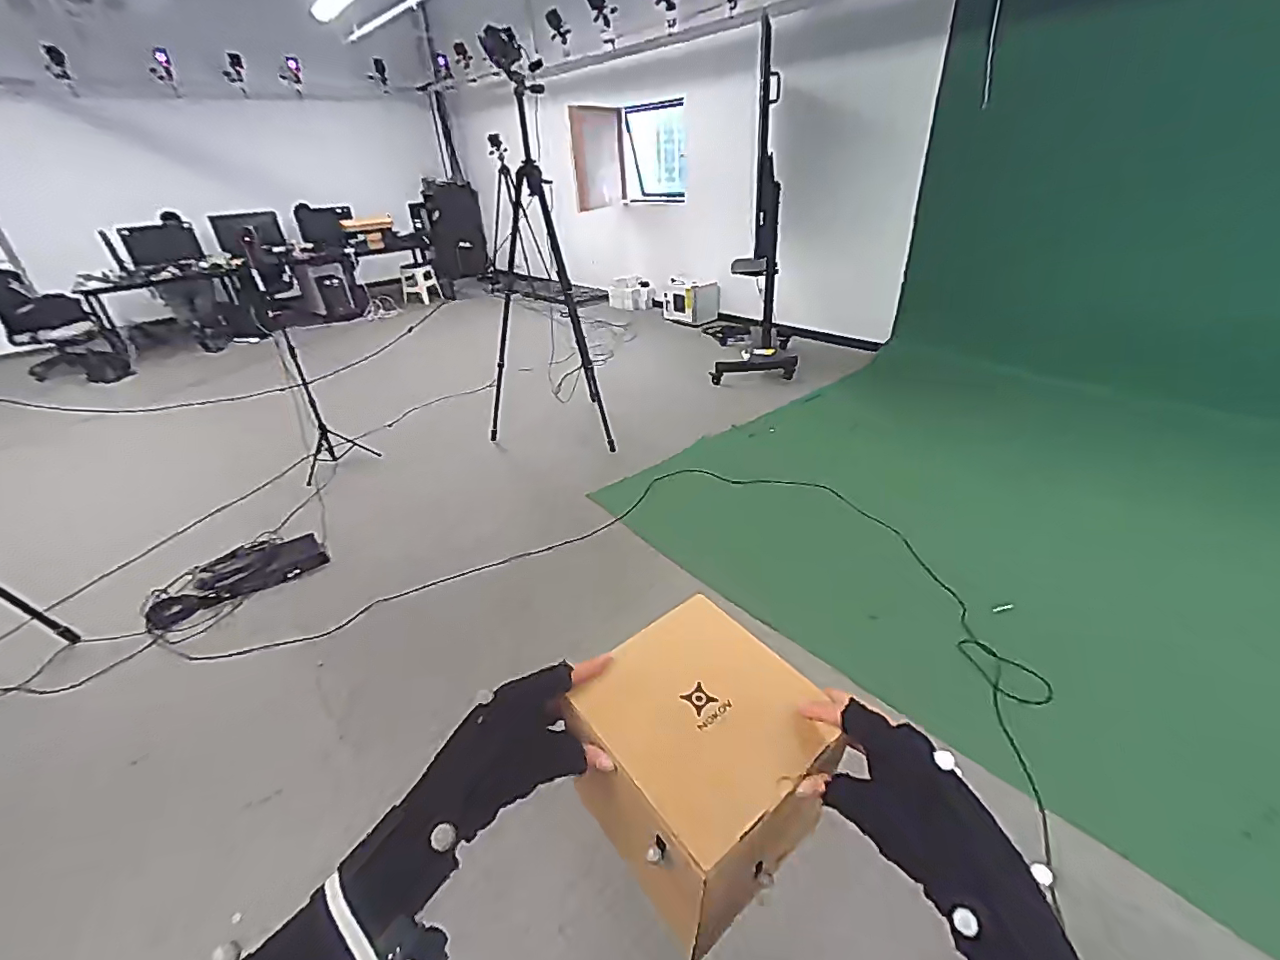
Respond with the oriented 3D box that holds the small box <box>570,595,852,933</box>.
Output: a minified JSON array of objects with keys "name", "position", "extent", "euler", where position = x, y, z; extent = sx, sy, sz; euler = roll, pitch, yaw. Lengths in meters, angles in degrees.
[{"name":"small box","position":[0.053,0.245,0.488],"extent":[0.168,0.176,0.179],"euler":[-24,42,-31]}]
